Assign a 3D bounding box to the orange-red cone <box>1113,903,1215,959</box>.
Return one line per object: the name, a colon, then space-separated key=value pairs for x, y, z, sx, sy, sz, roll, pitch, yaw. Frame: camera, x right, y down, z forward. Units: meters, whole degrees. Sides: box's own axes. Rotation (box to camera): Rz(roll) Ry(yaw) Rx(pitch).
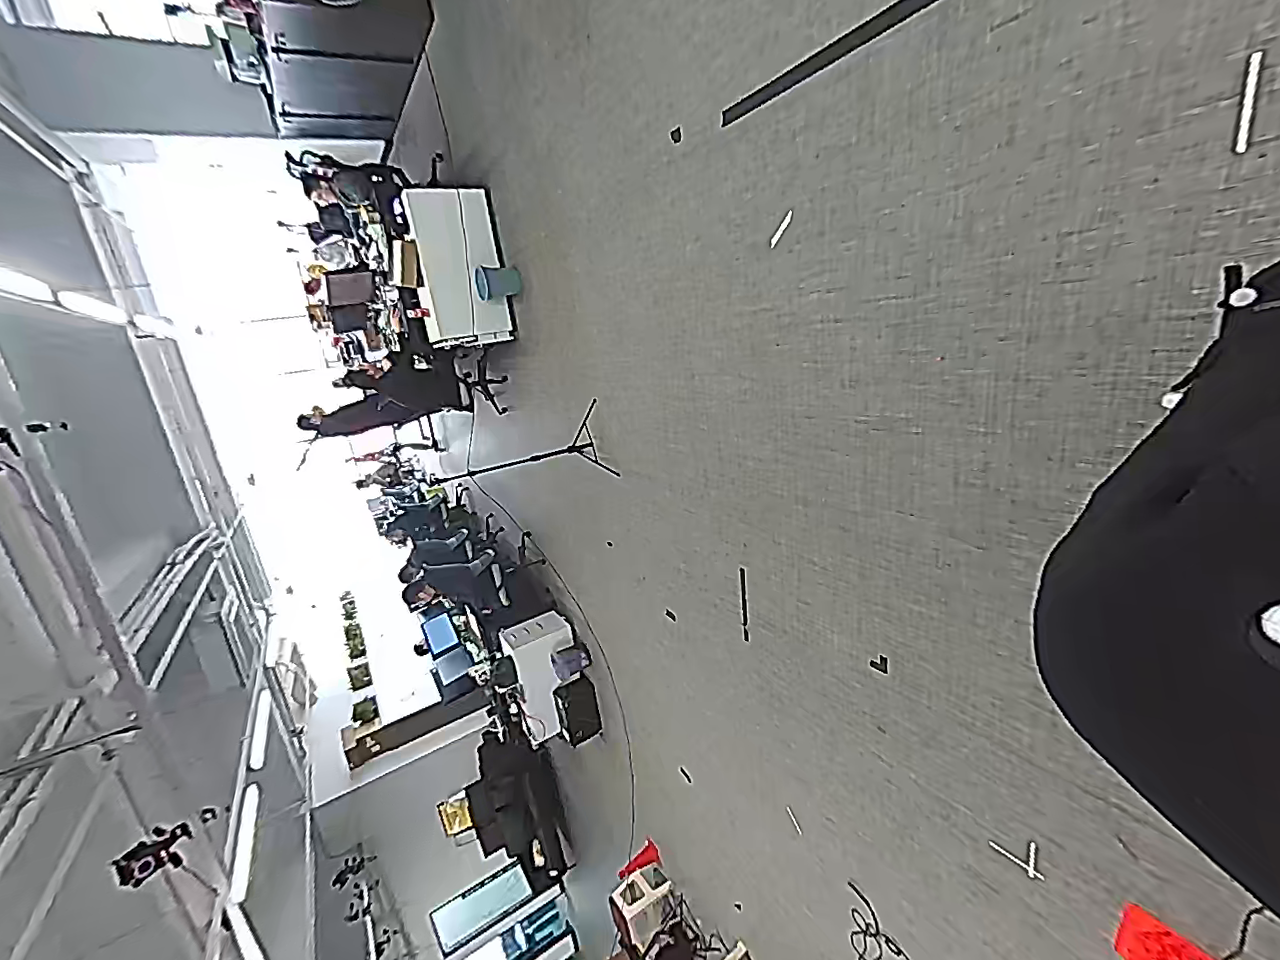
orange-red cone: x=1.202 y=1.261 z=1.301 sx=0.199 sy=0.360 sz=0.198 roll=27 pitch=127 yaw=55
